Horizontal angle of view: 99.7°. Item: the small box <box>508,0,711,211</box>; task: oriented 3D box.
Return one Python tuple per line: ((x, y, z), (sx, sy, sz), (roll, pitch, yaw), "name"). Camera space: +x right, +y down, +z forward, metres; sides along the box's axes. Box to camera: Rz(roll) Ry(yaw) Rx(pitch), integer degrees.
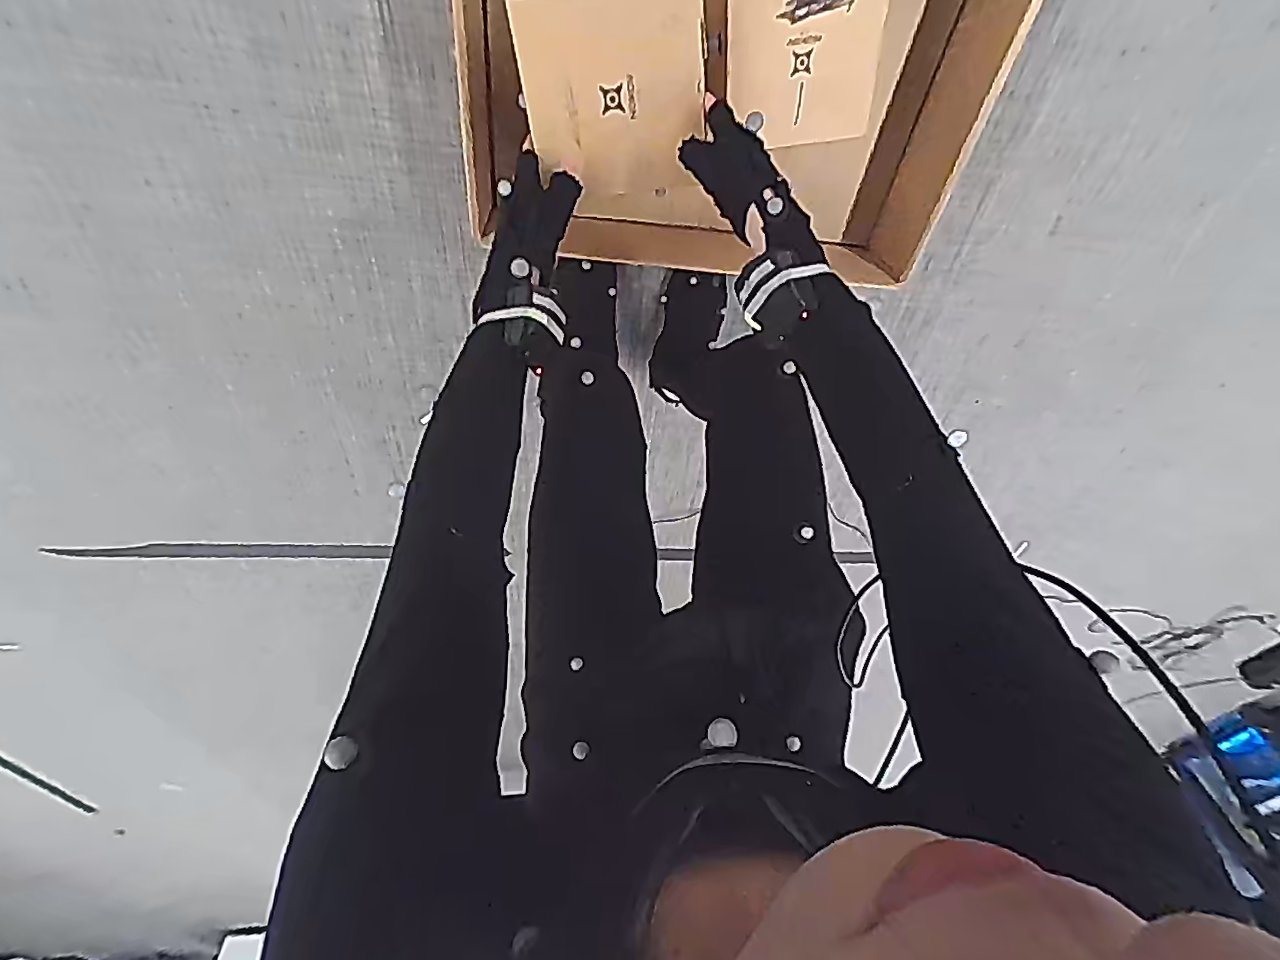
((-0.029, -0.400, 0.582), (0.179, 0.176, 0.168), (-9, 122, 1), "small box")
